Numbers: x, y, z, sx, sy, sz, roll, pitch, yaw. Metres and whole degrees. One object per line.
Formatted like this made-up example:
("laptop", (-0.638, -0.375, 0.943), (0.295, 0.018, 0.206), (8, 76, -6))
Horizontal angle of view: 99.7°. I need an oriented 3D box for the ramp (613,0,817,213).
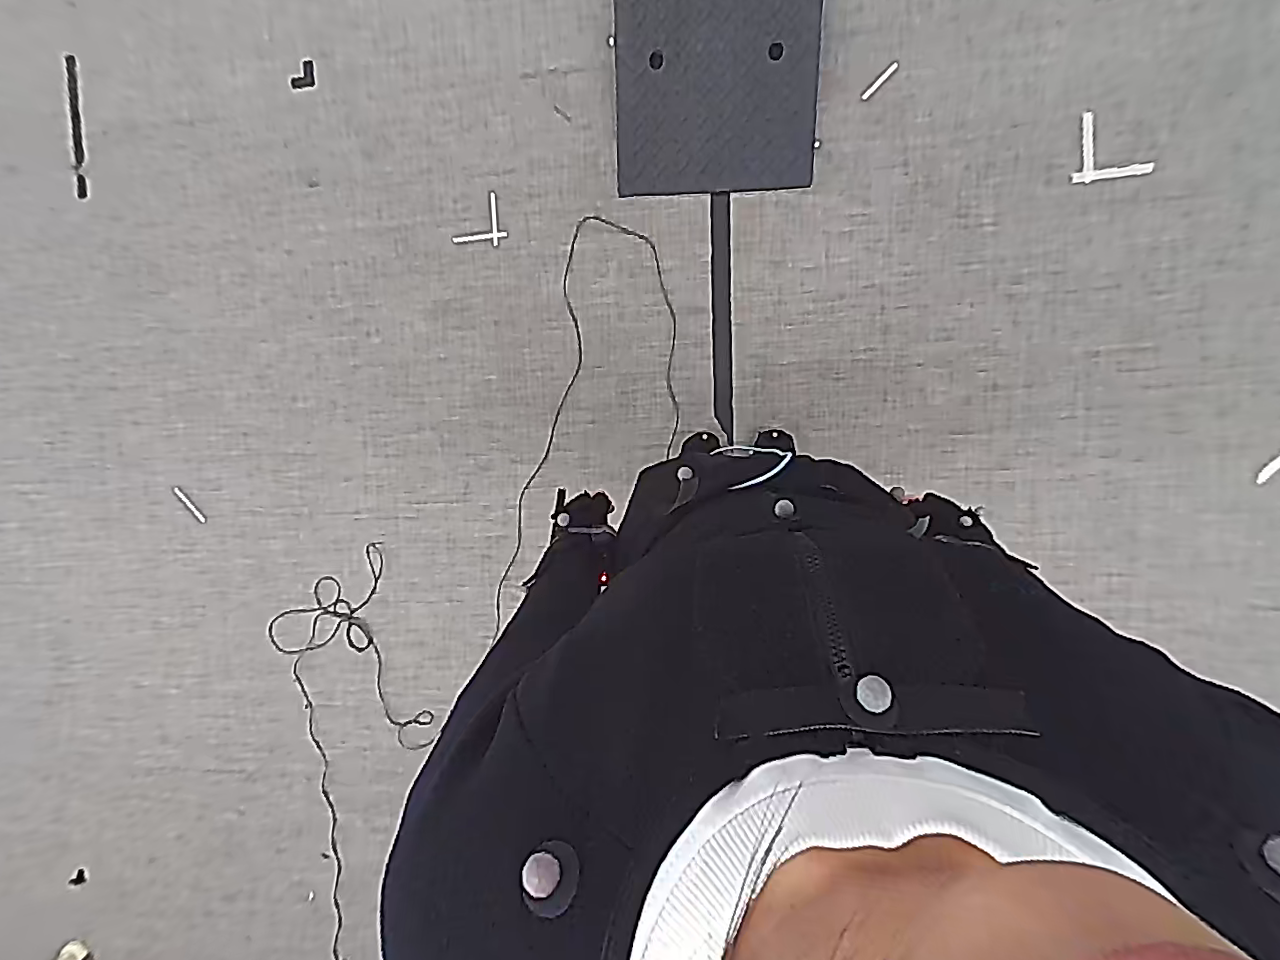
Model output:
("ramp", (0.175, -1.198, 1.292), (0.509, 0.206, 0.991), (-2, 94, 7))
